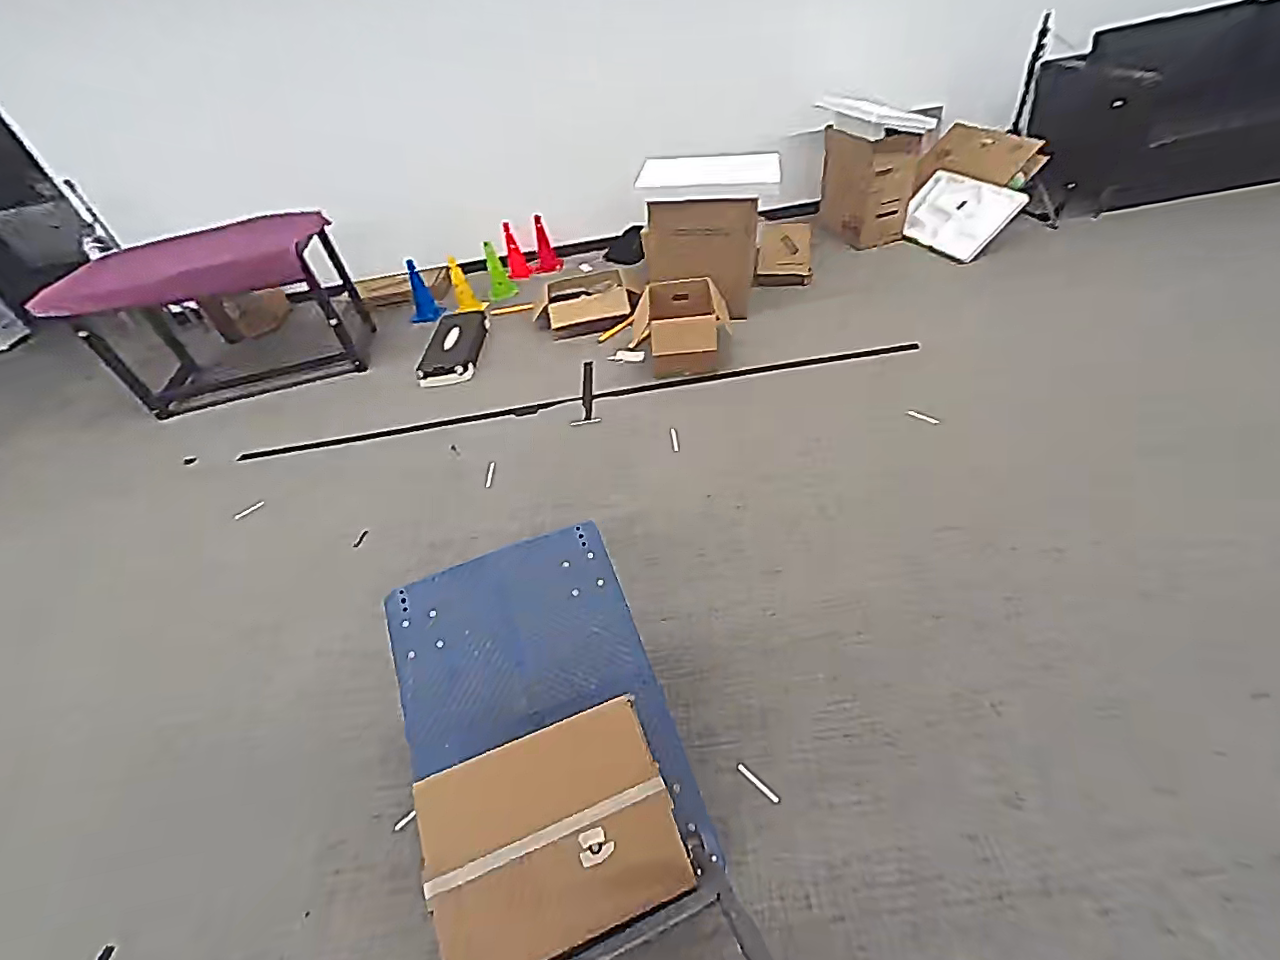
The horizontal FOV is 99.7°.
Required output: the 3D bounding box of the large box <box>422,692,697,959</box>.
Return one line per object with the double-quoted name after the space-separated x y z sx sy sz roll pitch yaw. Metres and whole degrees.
-0.145 0.663 1.047 0.408 0.320 0.320 -20 64 -11 "large box"
